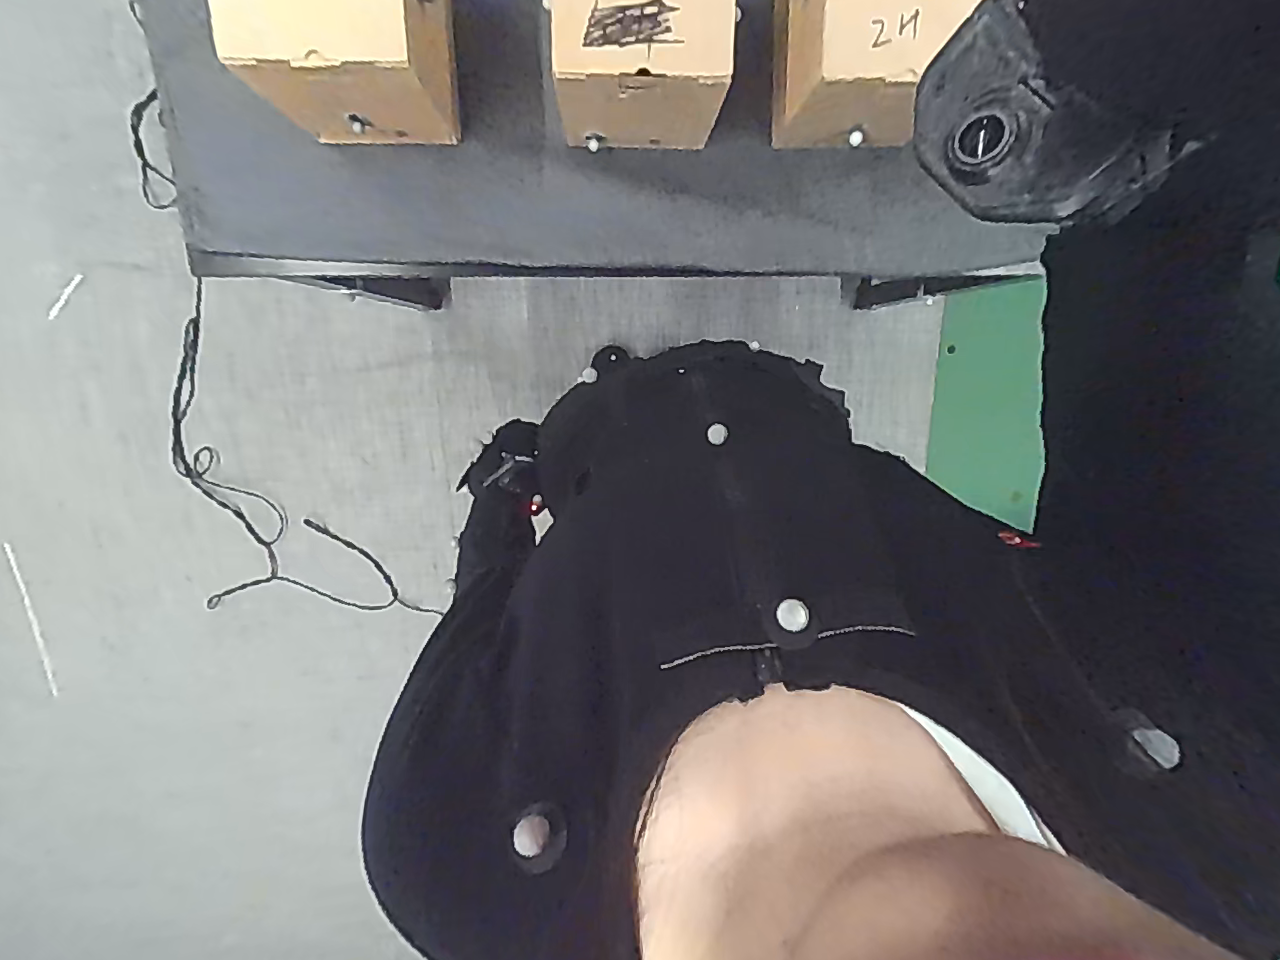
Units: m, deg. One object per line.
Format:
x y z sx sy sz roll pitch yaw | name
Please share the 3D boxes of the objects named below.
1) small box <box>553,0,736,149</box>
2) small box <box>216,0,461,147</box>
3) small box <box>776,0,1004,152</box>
0.003 -0.463 0.552 0.168 0.176 0.179 0 102 -3 | small box
-0.286 -0.463 0.538 0.168 0.176 0.179 -1 102 -3 | small box
0.244 -0.469 0.561 0.168 0.176 0.179 -1 102 -1 | small box
